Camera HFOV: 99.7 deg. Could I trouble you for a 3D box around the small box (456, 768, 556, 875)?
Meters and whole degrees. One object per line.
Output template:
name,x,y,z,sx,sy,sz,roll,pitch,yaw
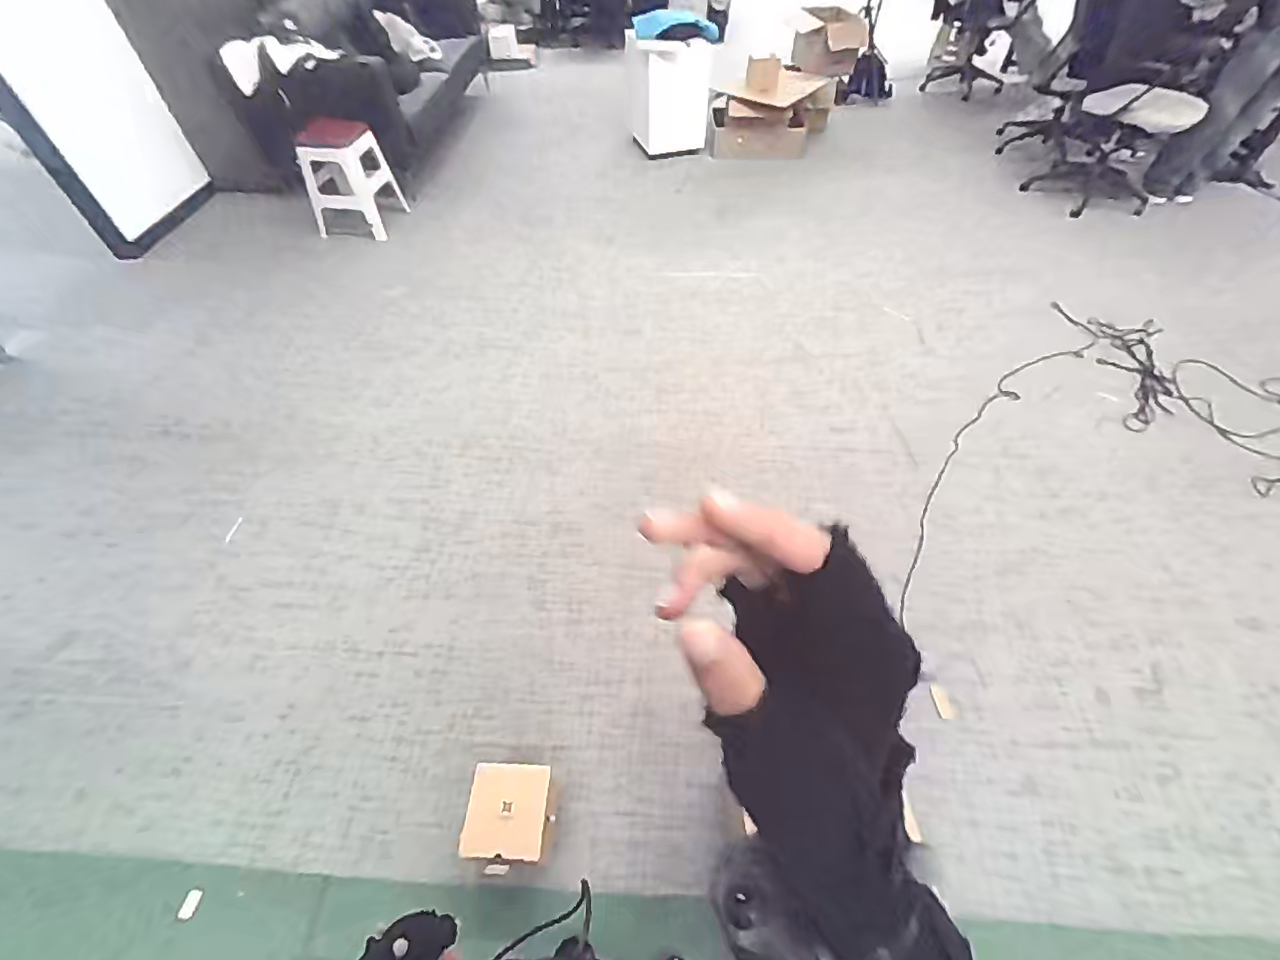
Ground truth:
small box,-0.284,0.752,1.190,0.168,0.176,0.179,1,51,2
